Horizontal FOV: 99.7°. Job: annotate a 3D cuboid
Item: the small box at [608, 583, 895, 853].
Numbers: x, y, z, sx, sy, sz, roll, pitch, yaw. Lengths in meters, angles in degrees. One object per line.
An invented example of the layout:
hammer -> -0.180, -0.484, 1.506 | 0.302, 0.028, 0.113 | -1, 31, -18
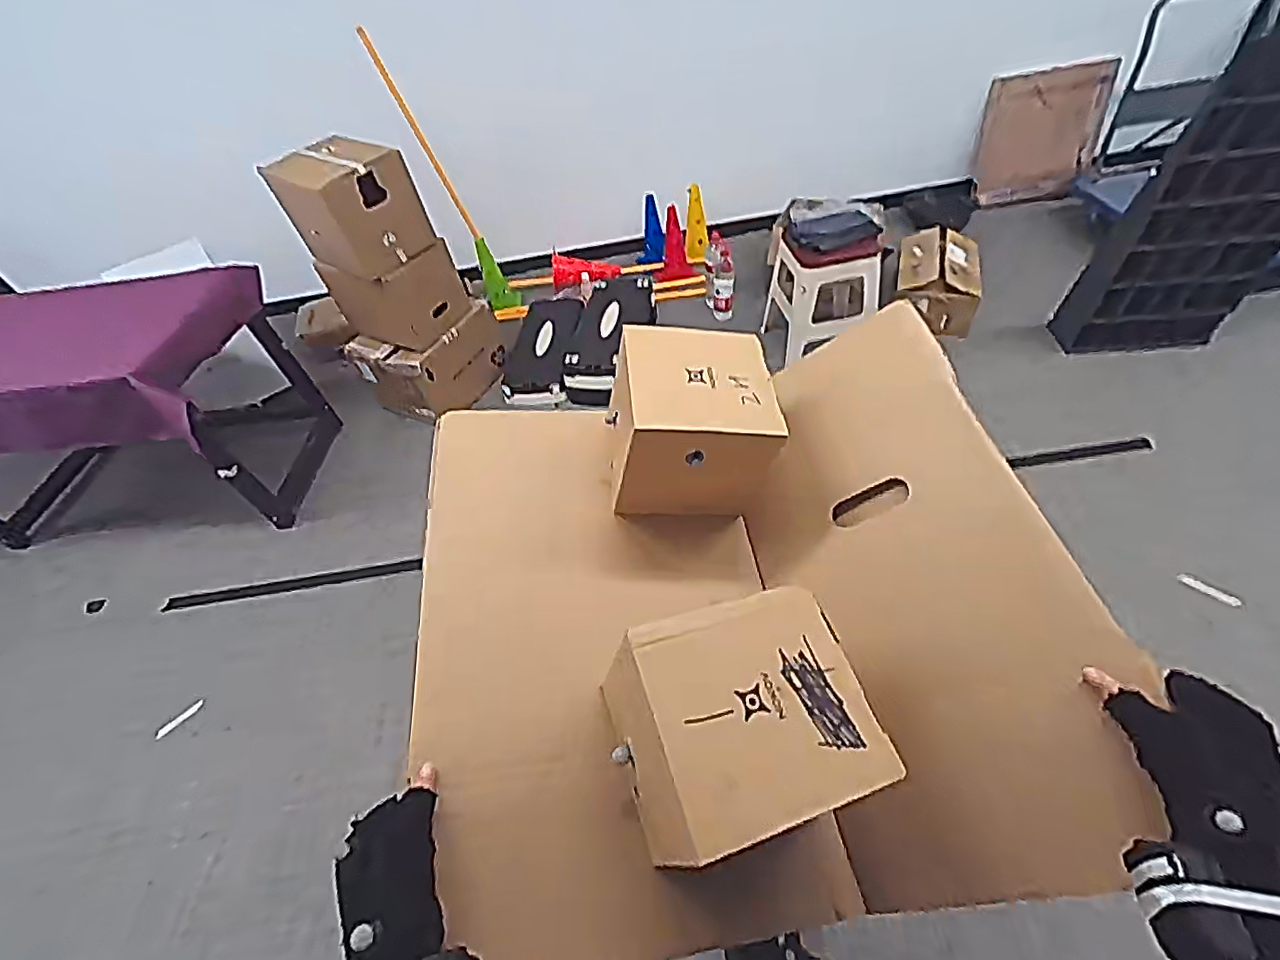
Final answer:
small box -> 0.081, 0.218, 0.497 | 0.179, 0.176, 0.168 | -10, 57, -18

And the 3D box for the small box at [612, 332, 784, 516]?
small box -> 0.058, -0.066, 0.697 | 0.179, 0.176, 0.168 | 3, 55, -11
